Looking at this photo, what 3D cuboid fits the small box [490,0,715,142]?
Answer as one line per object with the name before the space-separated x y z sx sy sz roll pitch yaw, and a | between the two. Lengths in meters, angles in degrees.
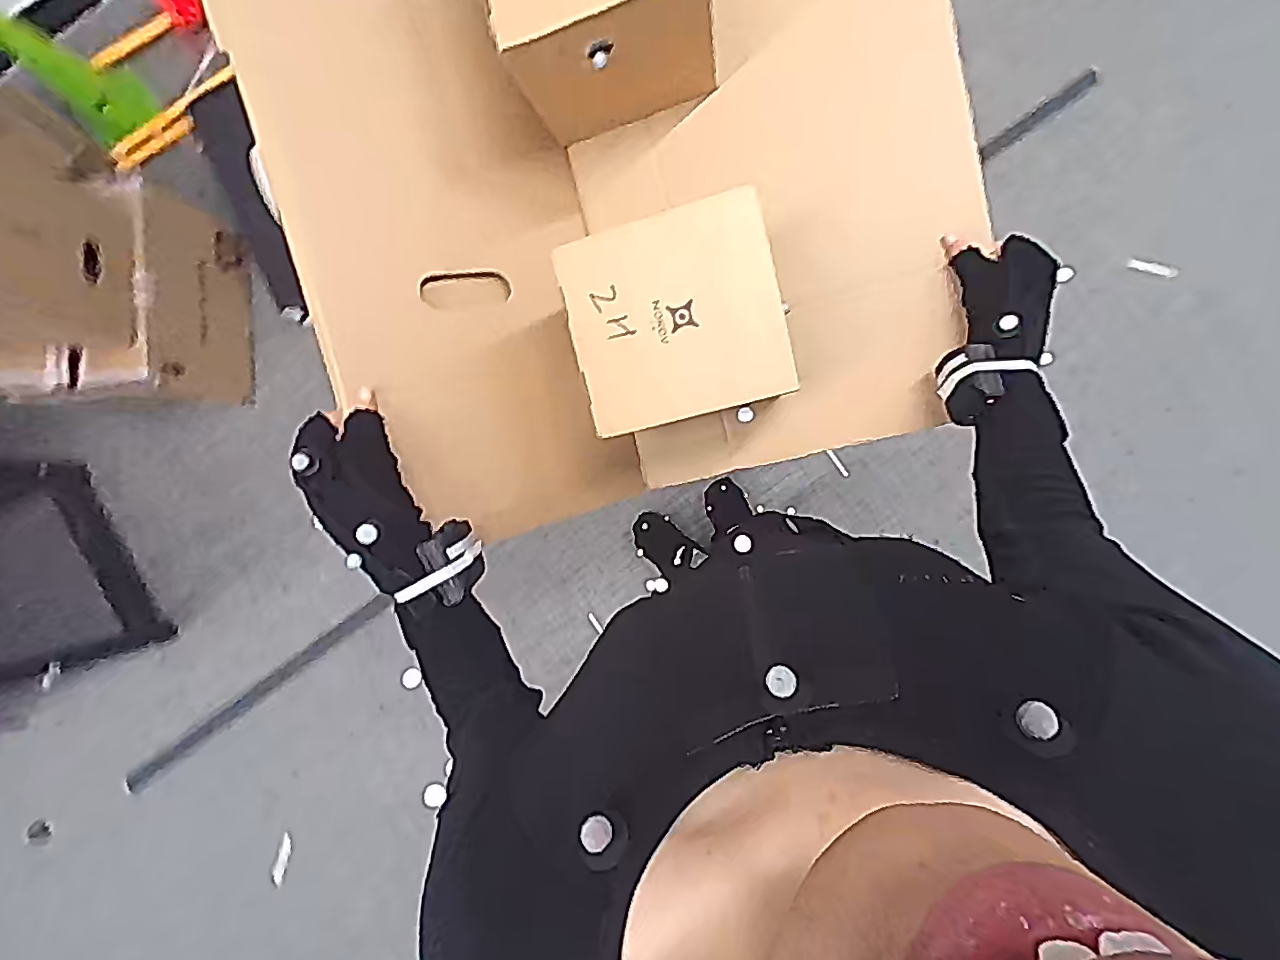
small box | -0.034 -0.456 0.503 0.179 0.176 0.168 -13 96 11
